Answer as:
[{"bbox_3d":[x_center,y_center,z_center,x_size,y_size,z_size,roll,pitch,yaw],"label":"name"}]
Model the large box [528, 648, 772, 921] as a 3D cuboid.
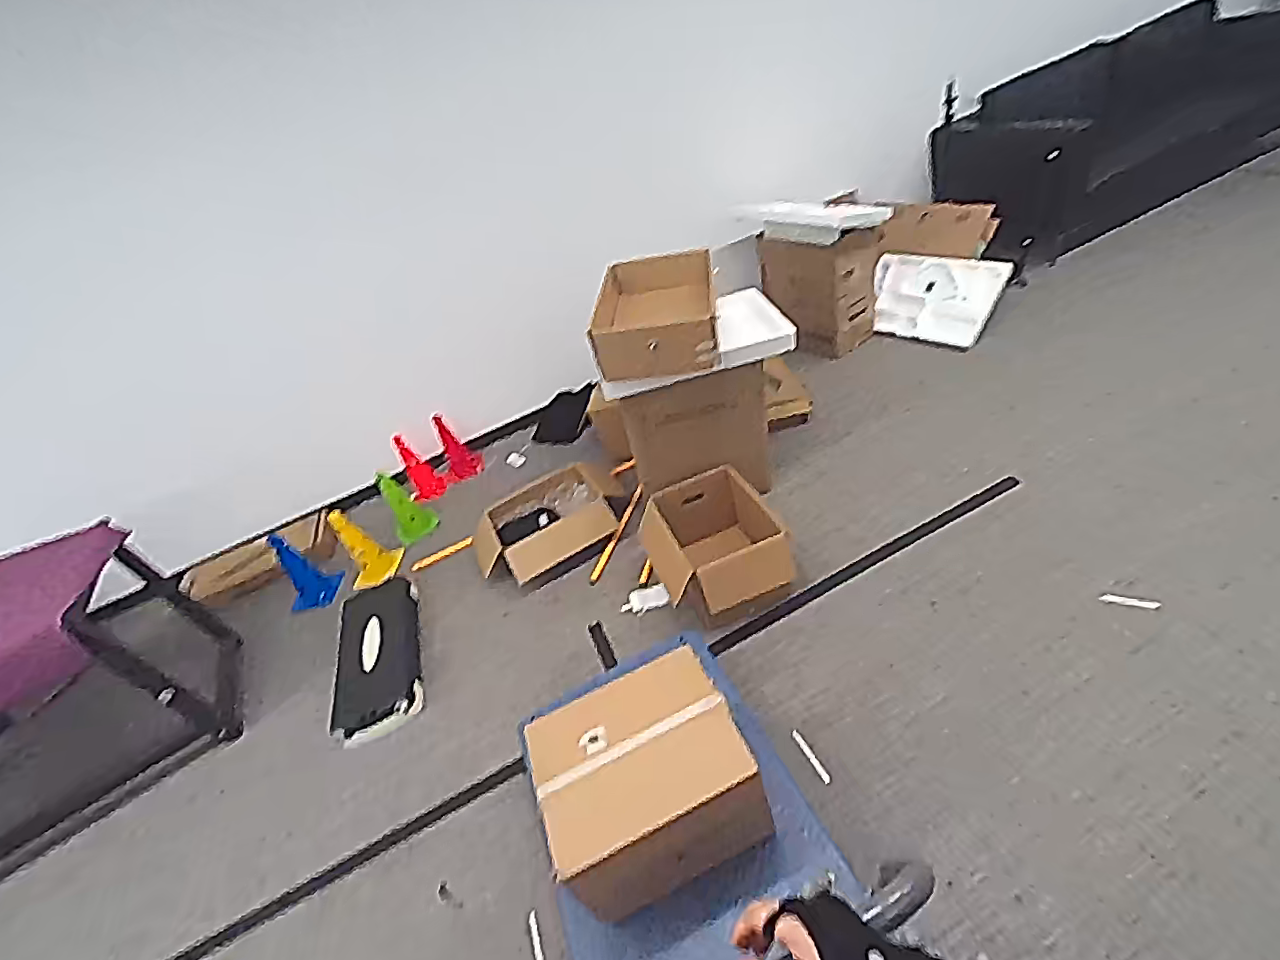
[{"bbox_3d":[0.025,0.654,1.182,0.408,0.320,0.320,-25,37,-8],"label":"large box"}]
